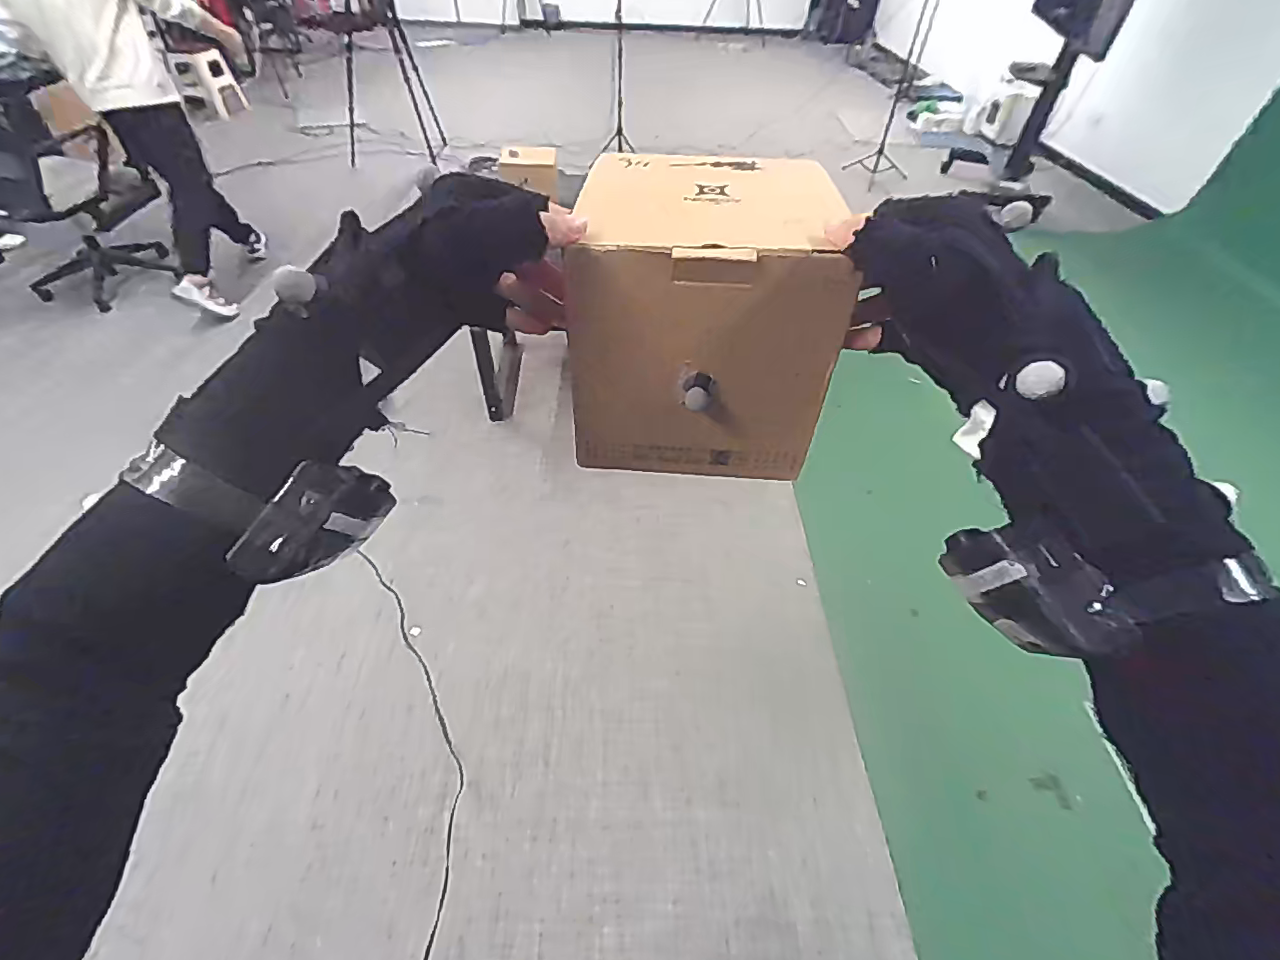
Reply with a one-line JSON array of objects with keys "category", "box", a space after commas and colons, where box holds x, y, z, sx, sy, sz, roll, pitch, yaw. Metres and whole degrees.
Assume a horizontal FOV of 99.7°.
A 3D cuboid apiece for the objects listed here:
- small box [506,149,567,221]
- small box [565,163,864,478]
[{"category": "small box", "box": [-0.335, -0.972, 1.784, 0.179, 0.176, 0.168, -1, 47, -5]}, {"category": "small box", "box": [0.046, -0.118, 0.406, 0.168, 0.176, 0.179, 3, 46, 2]}]
